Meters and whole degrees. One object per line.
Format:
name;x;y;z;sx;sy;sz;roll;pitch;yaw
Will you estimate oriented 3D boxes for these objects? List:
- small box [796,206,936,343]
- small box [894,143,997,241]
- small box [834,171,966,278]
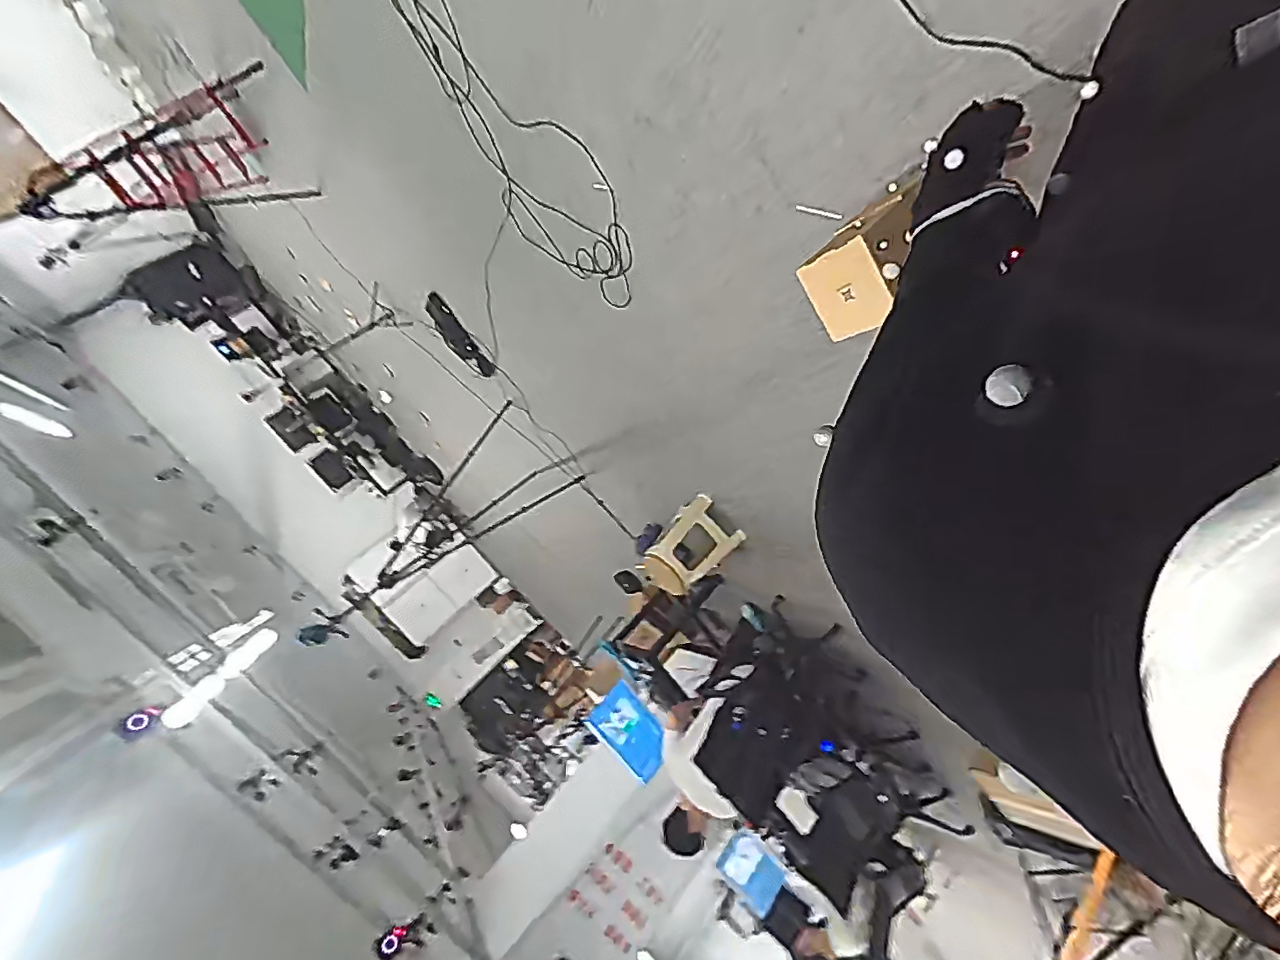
small box;0.461;-0.413;1.097;0.179;0.176;0.168;55;154;-14
small box;0.677;-0.622;1.228;0.168;0.176;0.179;54;154;-14
small box;0.564;-0.520;1.164;0.179;0.176;0.168;55;154;-15
